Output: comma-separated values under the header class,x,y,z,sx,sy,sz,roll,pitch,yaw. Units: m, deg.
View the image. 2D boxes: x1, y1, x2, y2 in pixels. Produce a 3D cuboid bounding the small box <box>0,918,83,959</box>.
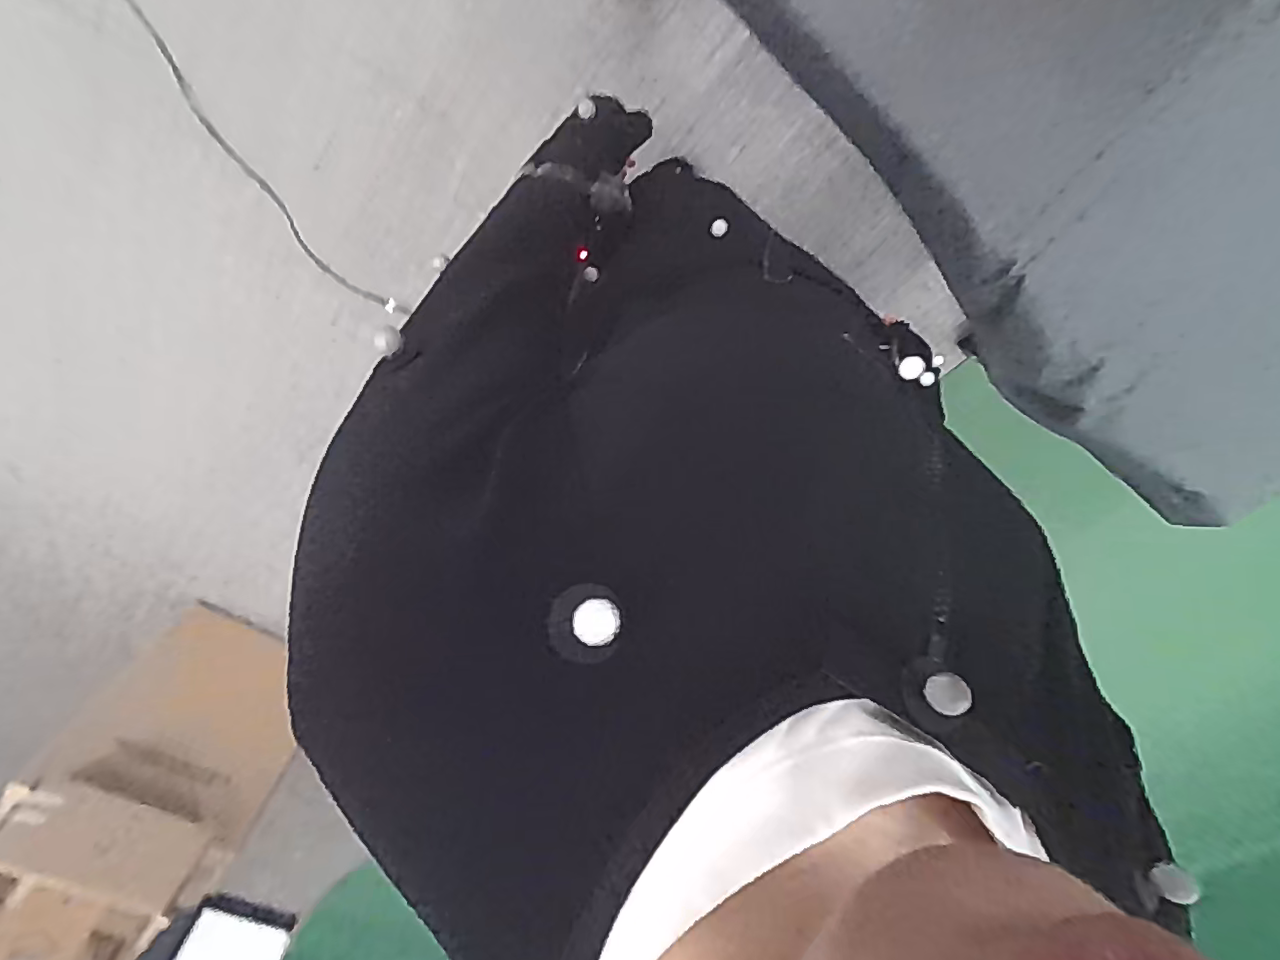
class,x,y,z,sx,sy,sz,roll,pitch,yaw
small box,-1.401,1.114,1.194,0.168,0.176,0.179,33,115,-19
